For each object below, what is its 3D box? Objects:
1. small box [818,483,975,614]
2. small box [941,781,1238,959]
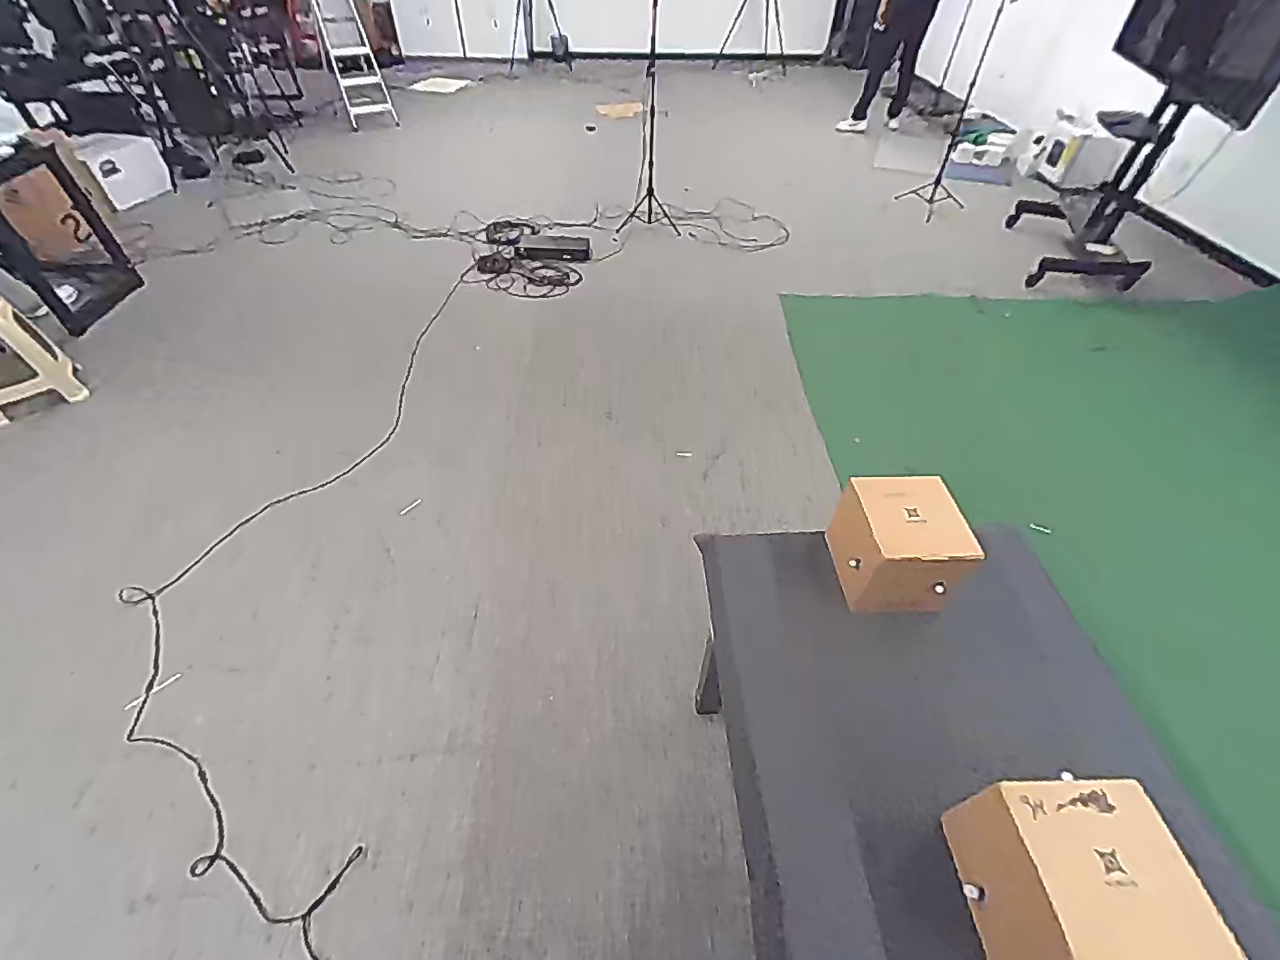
[{"bbox_3d":[0.438,0.124,0.958,0.168,0.176,0.179,0,45,-6],"label":"small box"},{"bbox_3d":[0.490,0.467,0.623,0.168,0.176,0.179,1,46,-4],"label":"small box"}]
